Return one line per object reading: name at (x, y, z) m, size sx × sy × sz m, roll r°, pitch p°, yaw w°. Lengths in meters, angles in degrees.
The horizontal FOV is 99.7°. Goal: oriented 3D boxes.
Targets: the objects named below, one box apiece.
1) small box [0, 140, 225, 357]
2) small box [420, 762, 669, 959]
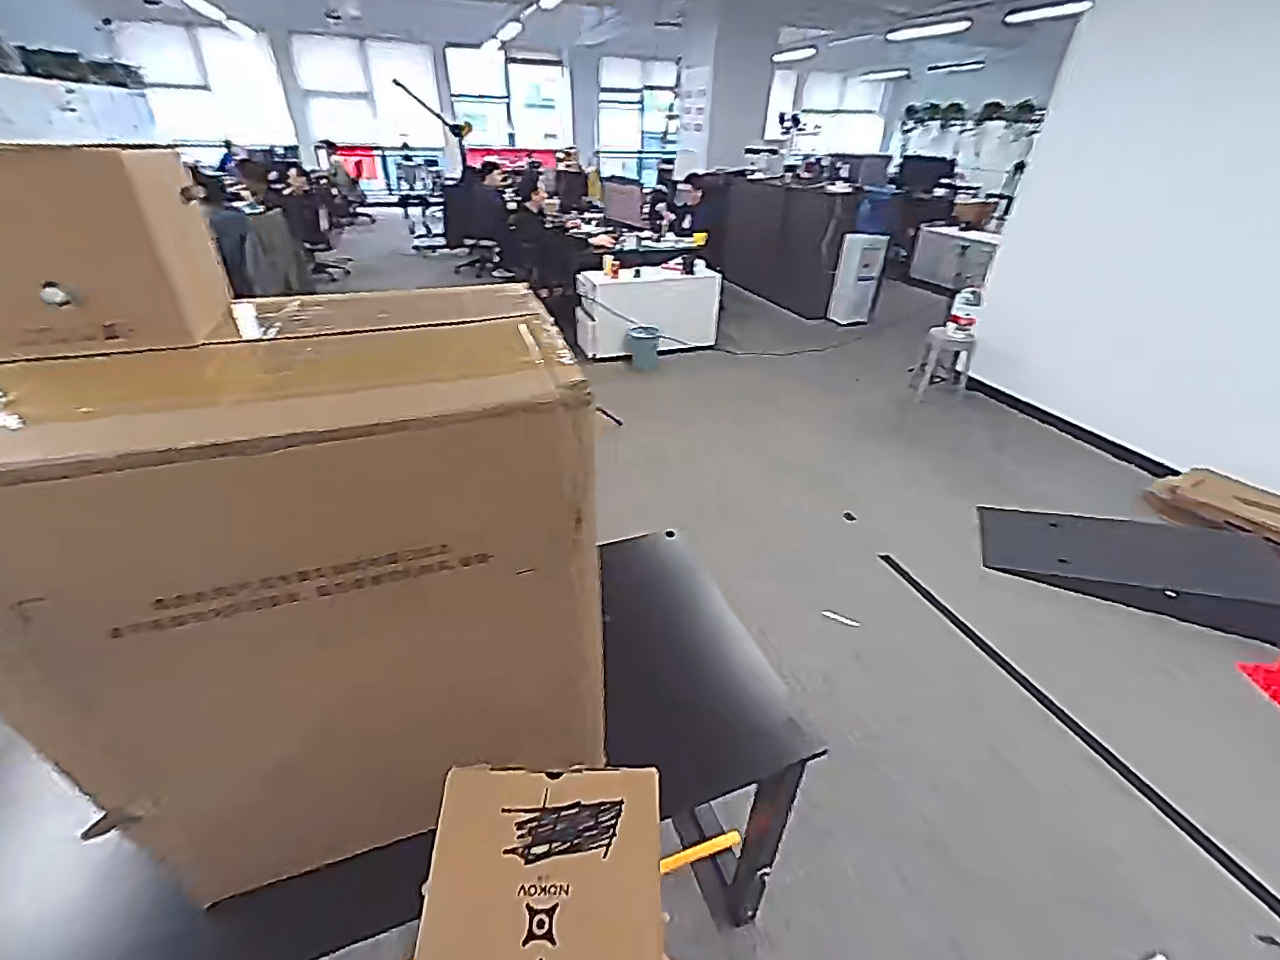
small box at (-0.536, -0.226, 0.521) m, size 0.168 × 0.176 × 0.179 m, roll -11°, pitch 33°, yaw -20°
small box at (-0.068, 0.342, 0.435) m, size 0.168 × 0.176 × 0.179 m, roll 1°, pitch 51°, yaw -3°
